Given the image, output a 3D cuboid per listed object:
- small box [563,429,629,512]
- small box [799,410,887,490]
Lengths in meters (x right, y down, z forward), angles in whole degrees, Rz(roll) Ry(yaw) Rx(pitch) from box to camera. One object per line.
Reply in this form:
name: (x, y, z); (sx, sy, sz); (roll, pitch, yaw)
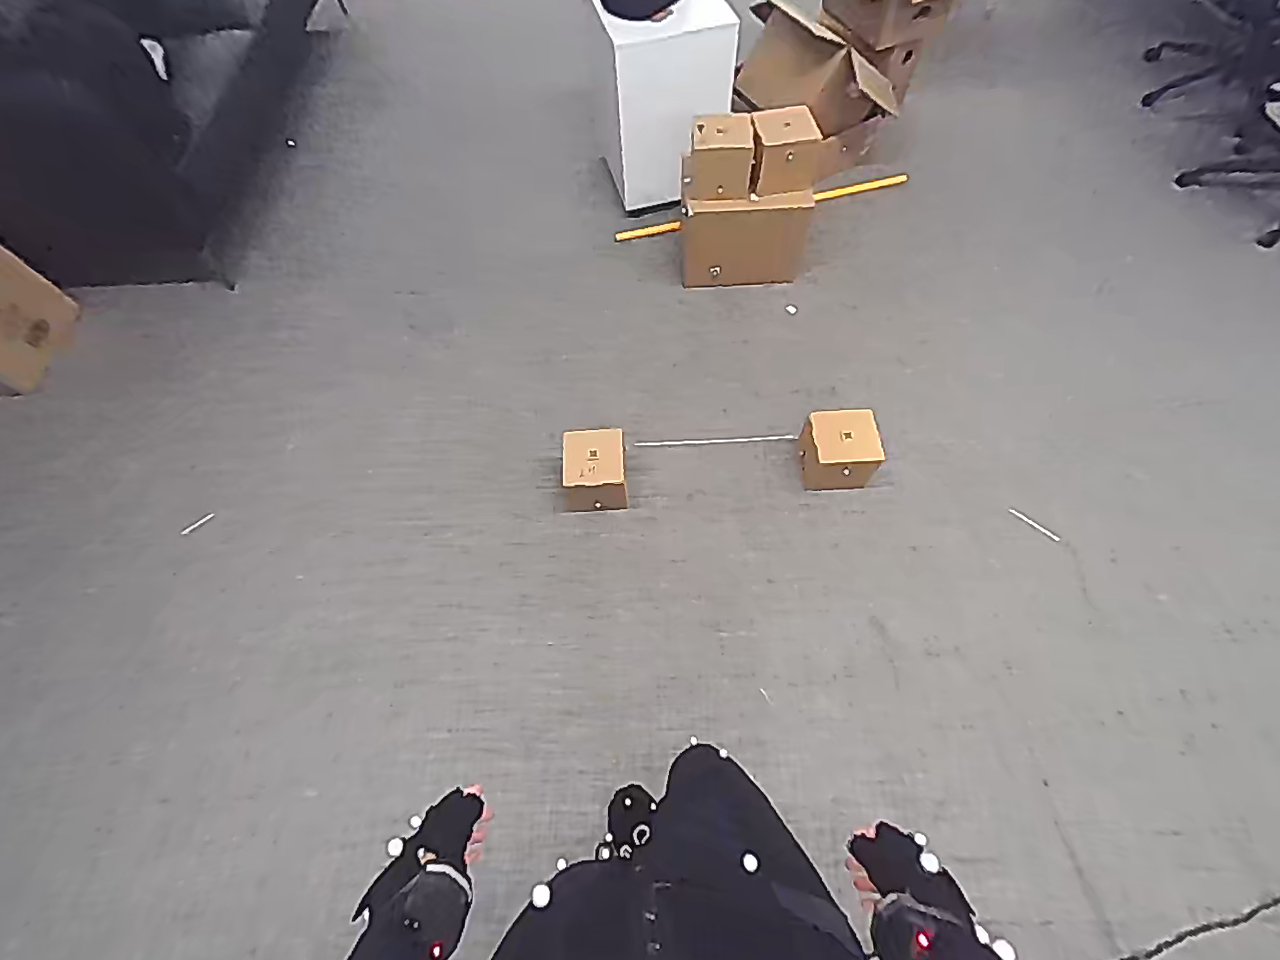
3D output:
small box: (-0.120, -0.024, 1.527); (0.168, 0.176, 0.179); (-4, 63, 1)
small box: (0.563, -0.080, 1.521); (0.179, 0.176, 0.168); (-4, 63, 2)
